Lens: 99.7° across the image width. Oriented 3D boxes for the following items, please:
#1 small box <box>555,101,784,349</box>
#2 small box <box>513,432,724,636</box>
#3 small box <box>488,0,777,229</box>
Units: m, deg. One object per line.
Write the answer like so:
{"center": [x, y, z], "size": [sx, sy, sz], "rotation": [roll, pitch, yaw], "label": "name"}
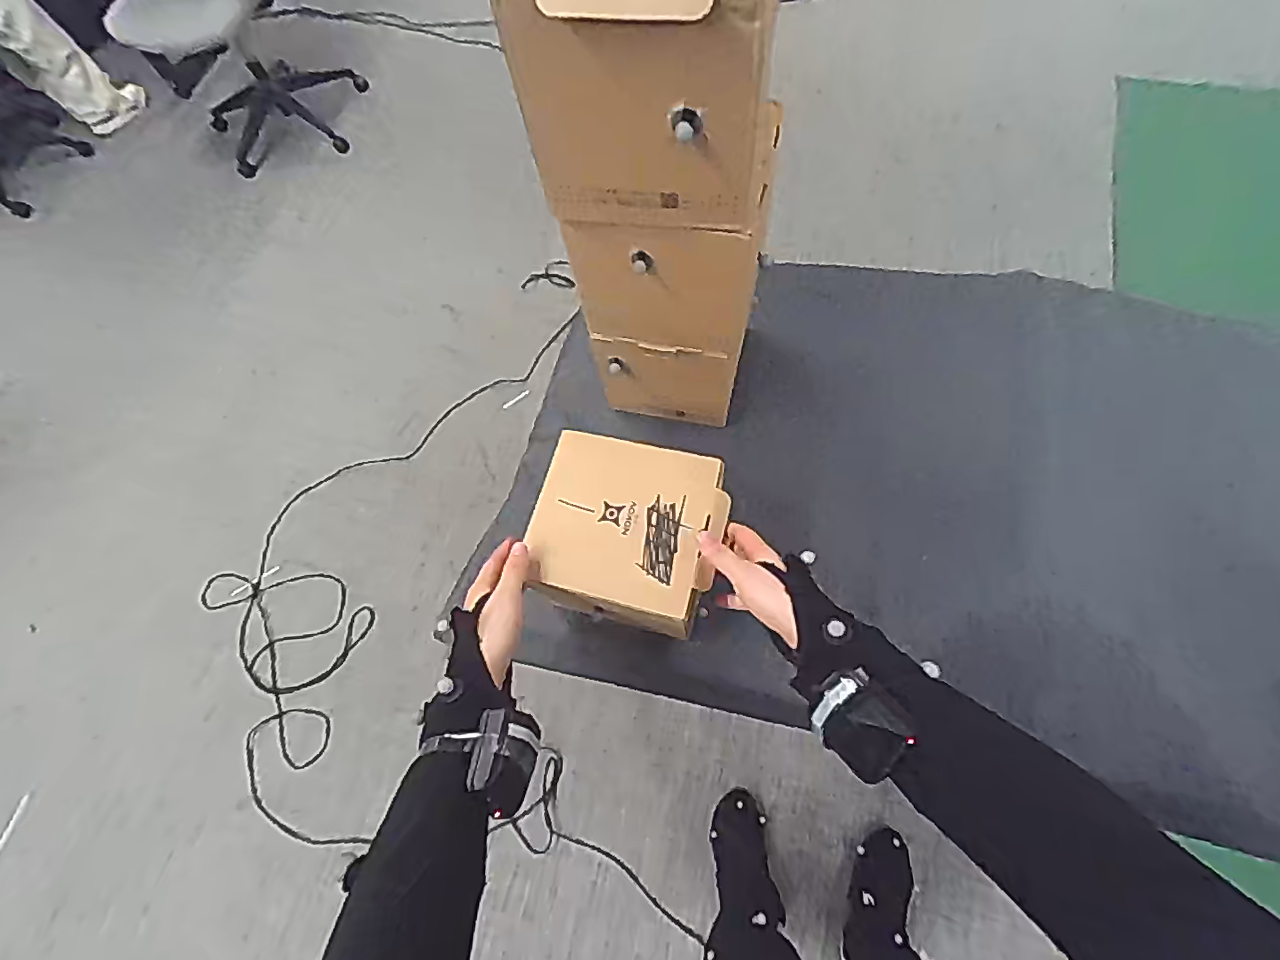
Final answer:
{"center": [0.037, -0.255, 0.554], "size": [0.179, 0.176, 0.168], "rotation": [12, 71, 11], "label": "small box"}
{"center": [-0.010, 0.069, 0.605], "size": [0.179, 0.176, 0.168], "rotation": [12, 70, 12], "label": "small box"}
{"center": [0.013, -0.317, 0.406], "size": [0.168, 0.176, 0.179], "rotation": [8, 68, 9], "label": "small box"}
